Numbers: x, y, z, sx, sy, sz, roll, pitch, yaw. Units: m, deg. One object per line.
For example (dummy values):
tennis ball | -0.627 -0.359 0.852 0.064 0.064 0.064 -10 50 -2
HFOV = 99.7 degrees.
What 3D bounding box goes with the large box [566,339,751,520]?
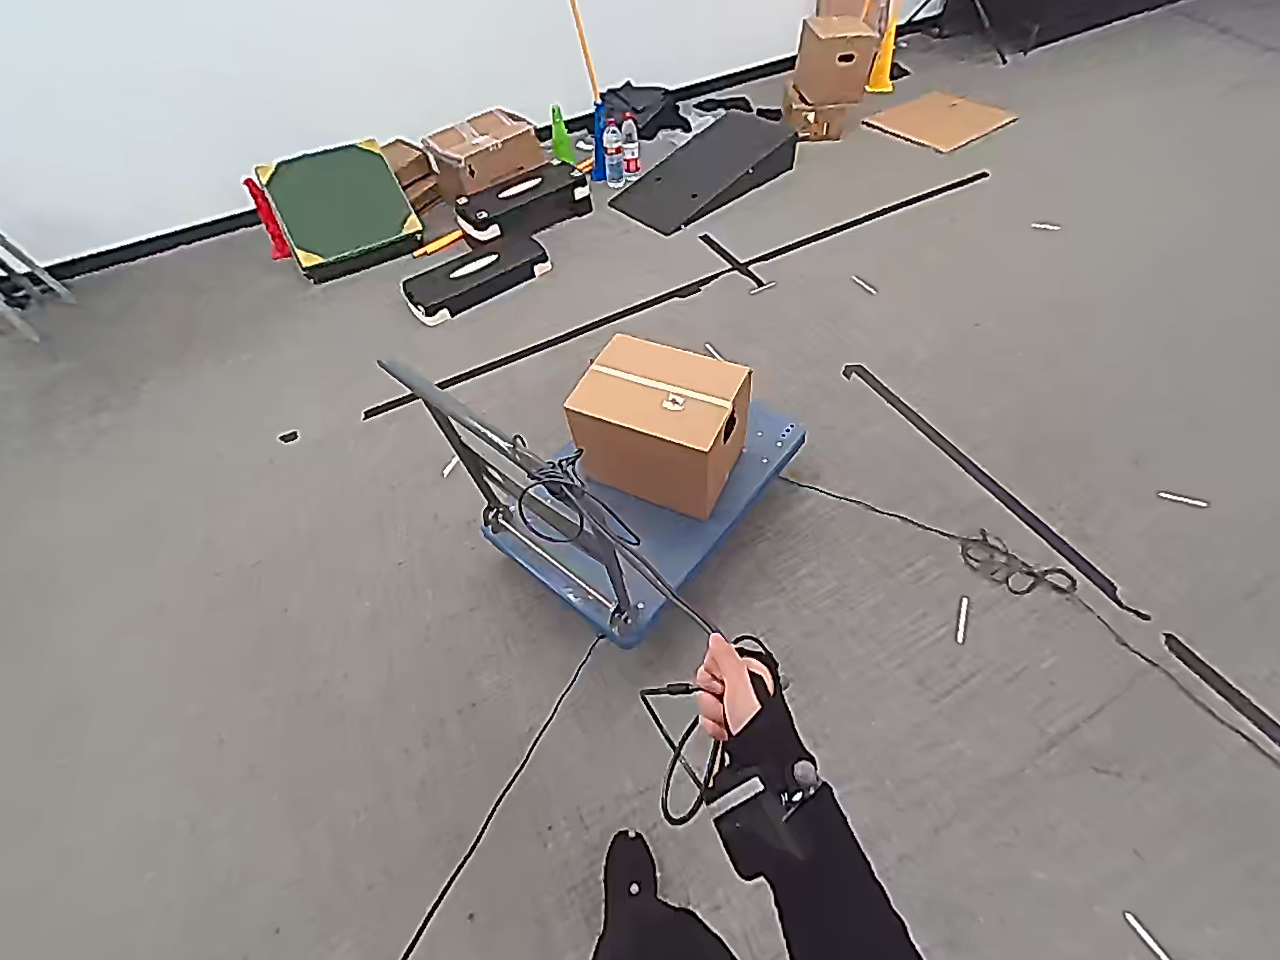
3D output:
large box | 0.057 -0.144 1.521 0.408 0.320 0.320 20 58 18
